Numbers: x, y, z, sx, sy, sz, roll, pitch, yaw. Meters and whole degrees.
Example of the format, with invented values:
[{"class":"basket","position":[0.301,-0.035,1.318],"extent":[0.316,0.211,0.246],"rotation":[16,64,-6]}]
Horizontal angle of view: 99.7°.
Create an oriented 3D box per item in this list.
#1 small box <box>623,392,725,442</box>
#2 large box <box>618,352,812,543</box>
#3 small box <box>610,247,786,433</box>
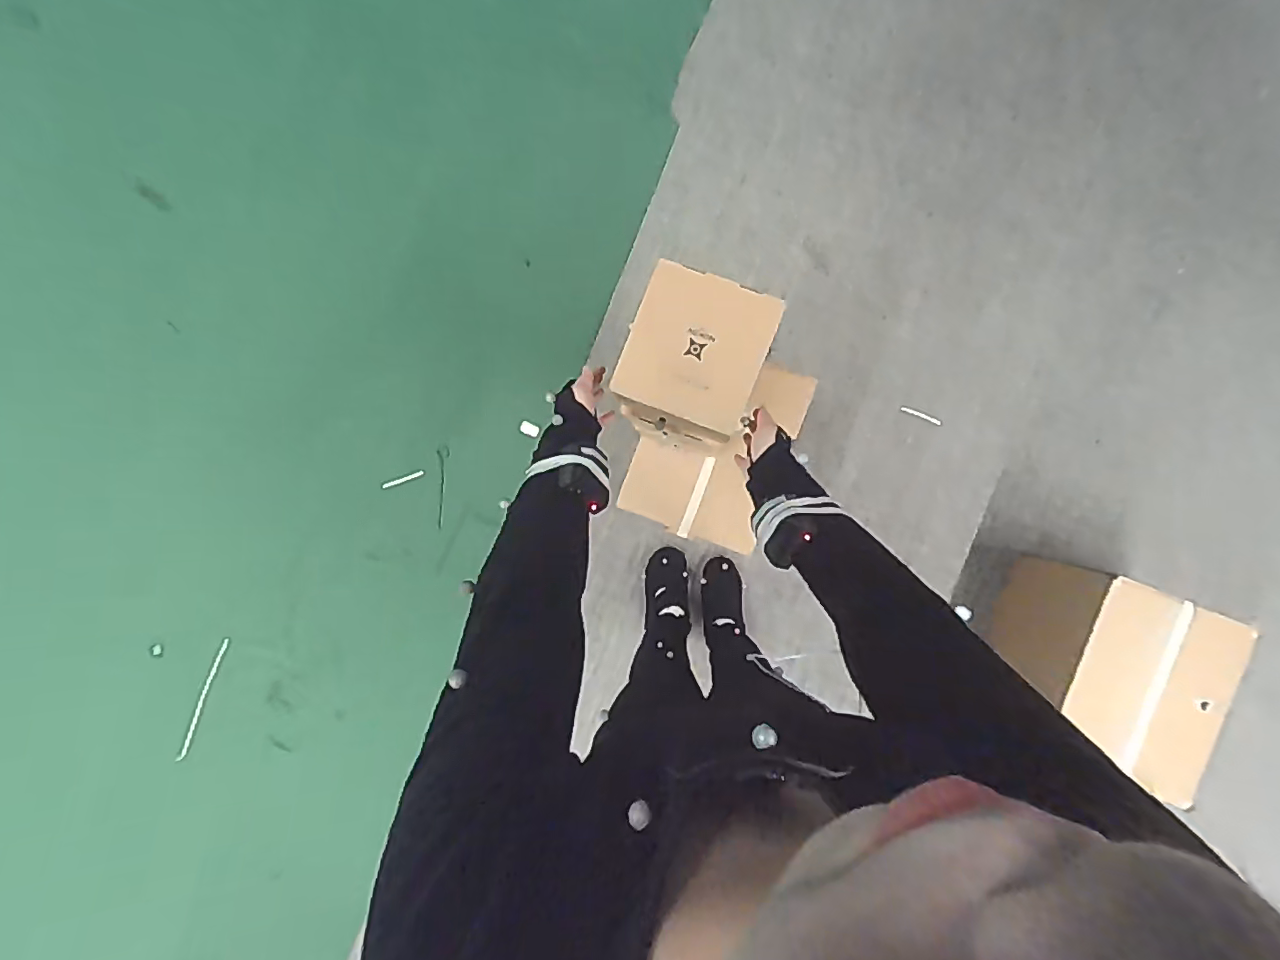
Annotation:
[{"class":"small box","position":[0.084,-0.172,0.893],"extent":[0.168,0.176,0.179],"rotation":[20,93,5]},{"class":"large box","position":[0.167,-0.098,1.298],"extent":[0.320,0.320,0.408],"rotation":[20,91,3]},{"class":"small box","position":[0.075,-0.175,0.730],"extent":[0.168,0.176,0.179],"rotation":[22,94,6]}]
